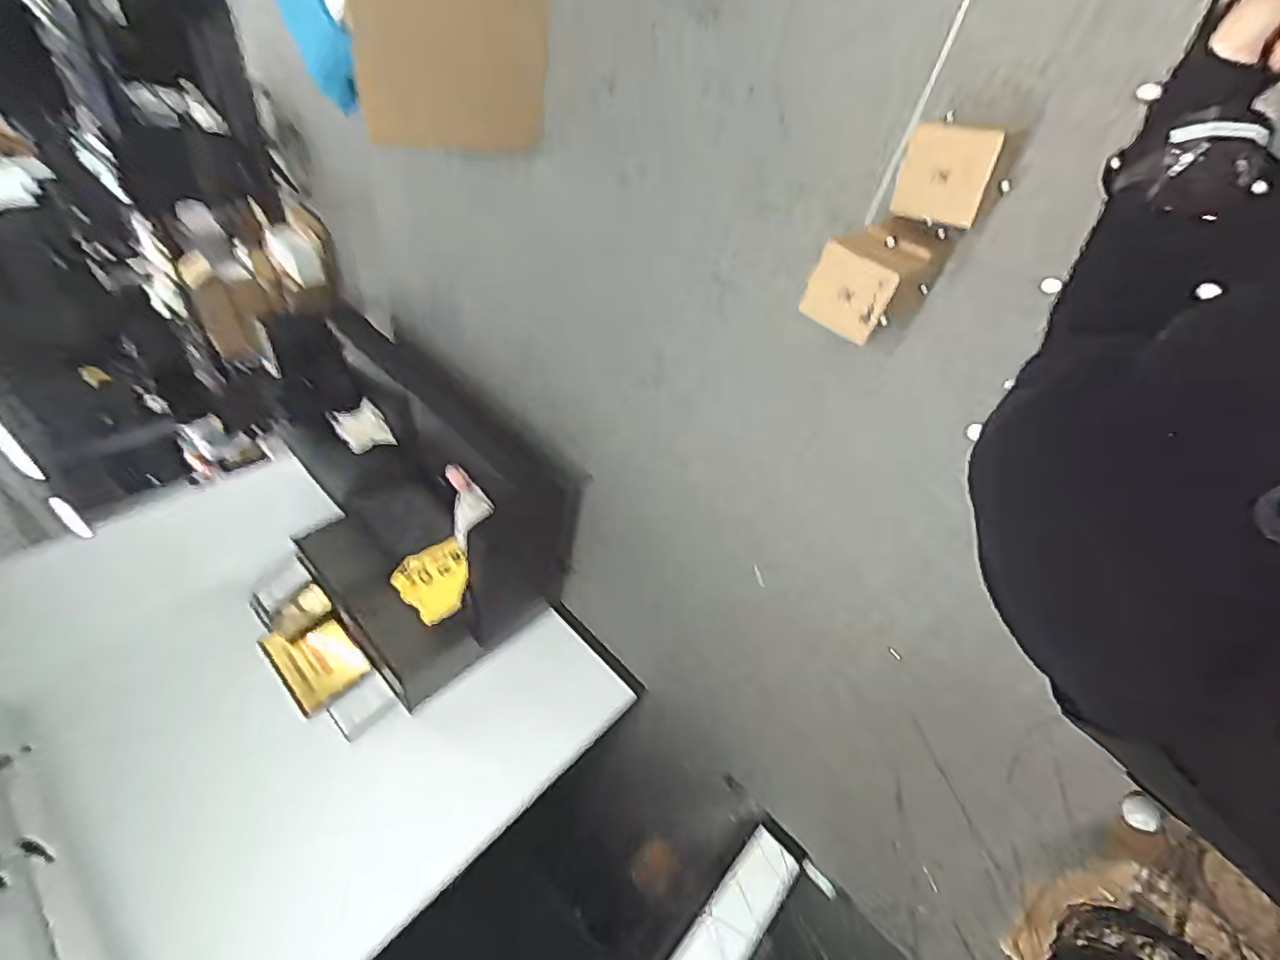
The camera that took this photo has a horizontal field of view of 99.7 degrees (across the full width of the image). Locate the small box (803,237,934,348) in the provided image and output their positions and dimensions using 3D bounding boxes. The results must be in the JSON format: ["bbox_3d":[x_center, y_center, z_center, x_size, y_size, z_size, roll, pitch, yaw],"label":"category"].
[{"bbox_3d":[0.505,-0.423,1.200,0.179,0.176,0.168,41,140,24],"label":"small box"}]

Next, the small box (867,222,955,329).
[{"bbox_3d":[0.618,-0.496,1.293,0.168,0.176,0.179,40,140,25],"label":"small box"}]

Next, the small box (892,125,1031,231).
[{"bbox_3d":[0.671,-0.639,1.134,0.179,0.176,0.168,31,137,31],"label":"small box"}]
